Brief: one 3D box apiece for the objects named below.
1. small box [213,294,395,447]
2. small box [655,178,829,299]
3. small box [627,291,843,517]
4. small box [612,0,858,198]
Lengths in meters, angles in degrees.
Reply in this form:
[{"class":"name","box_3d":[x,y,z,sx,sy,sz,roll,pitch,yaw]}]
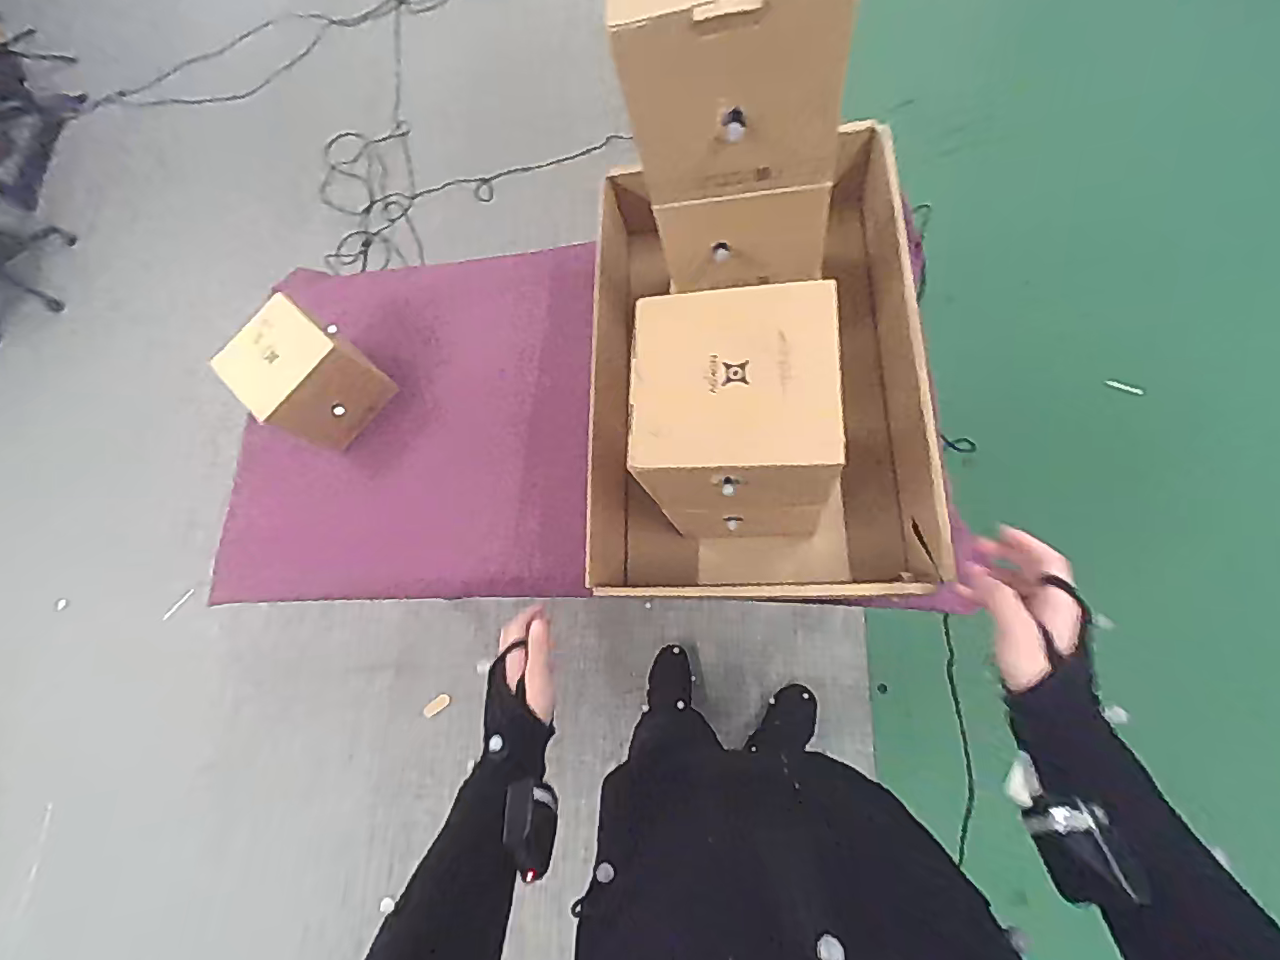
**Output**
[{"class":"small box","box_3d":[-0.570,-0.177,0.938,0.179,0.176,0.168,40,85,19]},{"class":"small box","box_3d":[0.117,-0.318,0.602,0.168,0.176,0.179,-1,75,13]},{"class":"small box","box_3d":[0.097,-0.061,0.531,0.179,0.176,0.168,0,75,14]},{"class":"small box","box_3d":[0.082,-0.362,0.447,0.168,0.176,0.179,-1,76,13]}]
